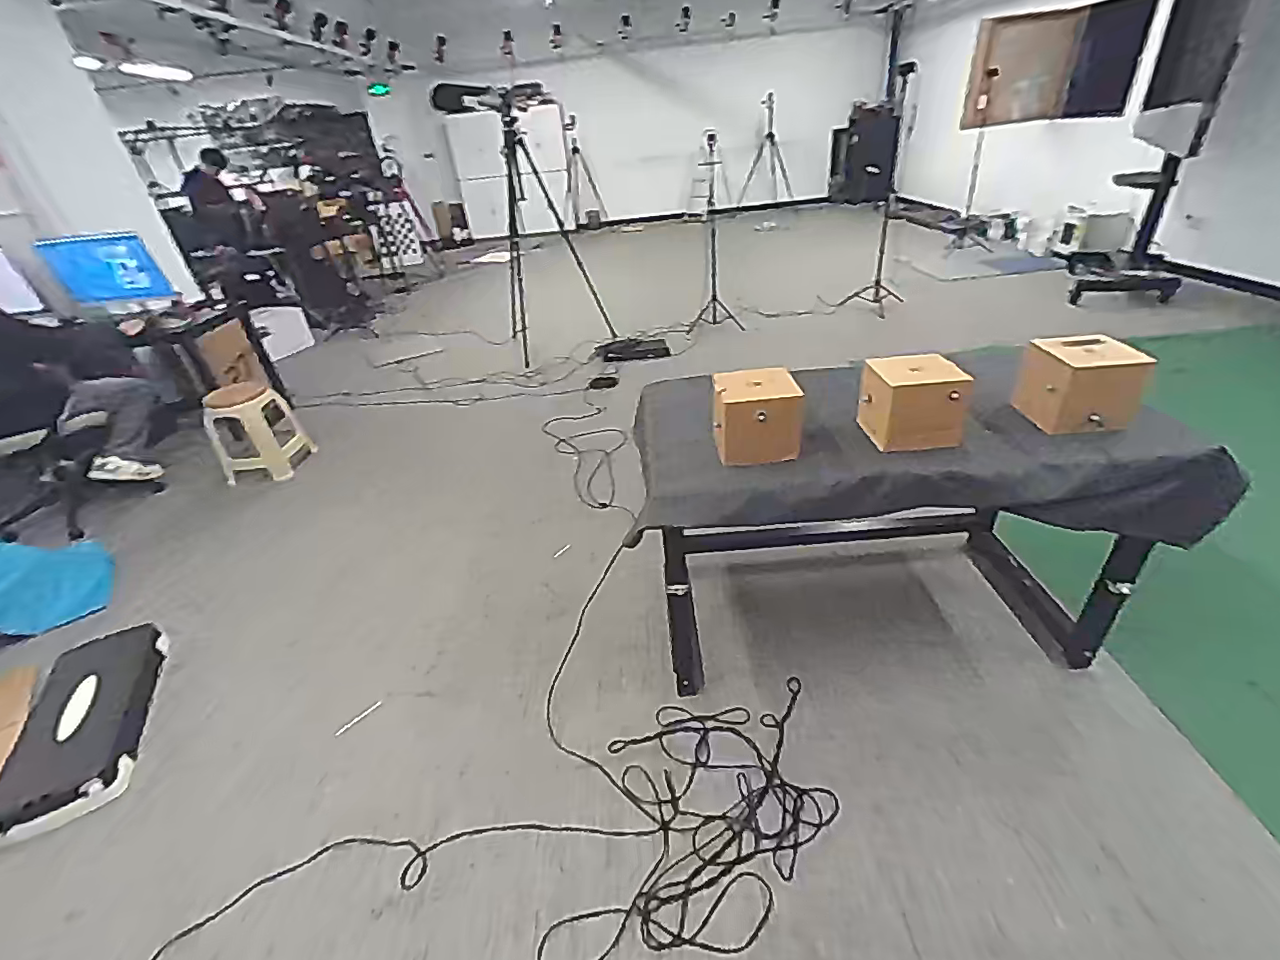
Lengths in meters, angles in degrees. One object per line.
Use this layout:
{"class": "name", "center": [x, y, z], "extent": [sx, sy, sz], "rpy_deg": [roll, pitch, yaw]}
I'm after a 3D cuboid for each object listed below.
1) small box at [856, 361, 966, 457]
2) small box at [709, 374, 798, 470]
{"class": "small box", "center": [0.616, -0.164, 1.257], "extent": [0.179, 0.176, 0.168], "rpy_deg": [-4, 32, 2]}
{"class": "small box", "center": [0.259, -0.135, 1.268], "extent": [0.179, 0.176, 0.168], "rpy_deg": [-4, 33, 0]}
